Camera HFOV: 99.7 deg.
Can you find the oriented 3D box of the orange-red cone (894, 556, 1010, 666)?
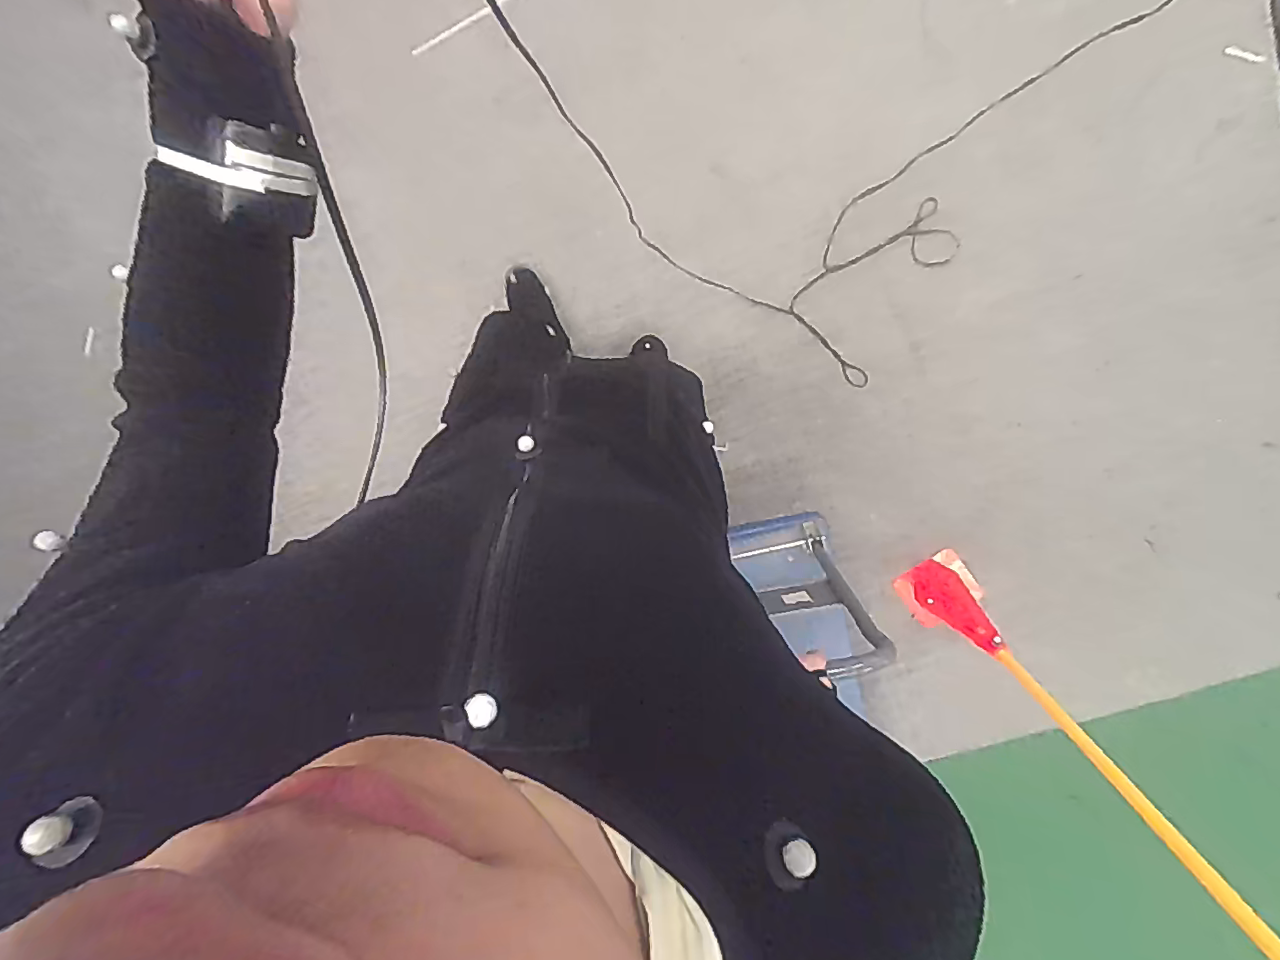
[{"bbox_3d":[0.881,0.385,1.464,0.199,0.360,0.198,-36,100,11],"label":"orange-red cone"}]
